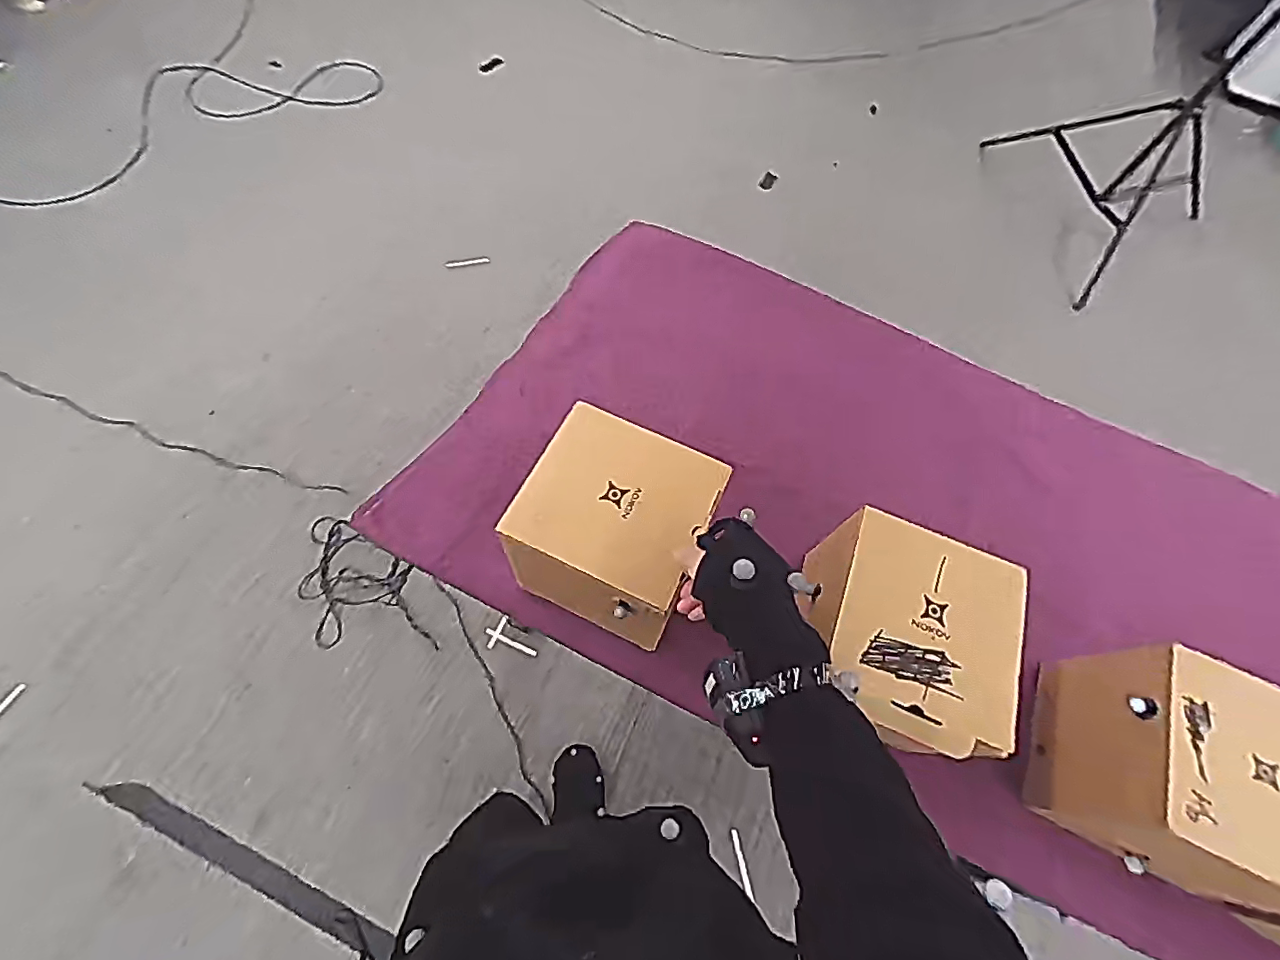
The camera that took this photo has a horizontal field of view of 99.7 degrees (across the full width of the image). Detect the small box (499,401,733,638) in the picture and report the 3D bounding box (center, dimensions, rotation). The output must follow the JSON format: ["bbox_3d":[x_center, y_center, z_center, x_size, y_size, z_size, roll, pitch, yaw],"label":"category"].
[{"bbox_3d":[-0.024,0.052,0.582,0.179,0.176,0.168,23,63,7],"label":"small box"}]

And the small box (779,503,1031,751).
[{"bbox_3d":[0.259,0.157,0.561,0.168,0.176,0.179,23,65,5],"label":"small box"}]
